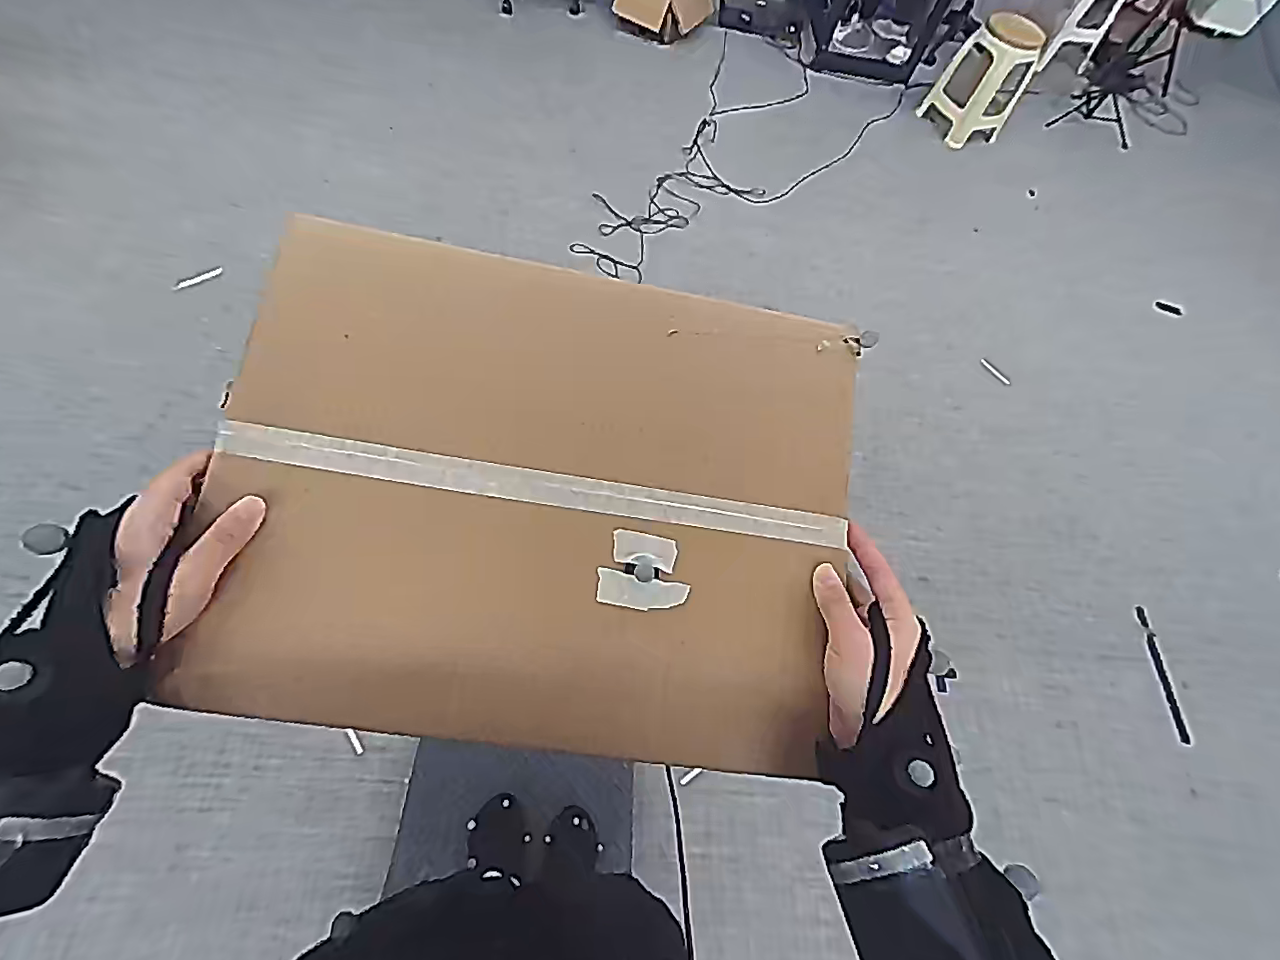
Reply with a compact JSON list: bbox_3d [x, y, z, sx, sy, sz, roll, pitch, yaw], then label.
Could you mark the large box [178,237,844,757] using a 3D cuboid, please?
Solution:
[{"bbox_3d":[-0.078,0.034,0.509,0.408,0.320,0.320,10,79,-6],"label":"large box"}]
